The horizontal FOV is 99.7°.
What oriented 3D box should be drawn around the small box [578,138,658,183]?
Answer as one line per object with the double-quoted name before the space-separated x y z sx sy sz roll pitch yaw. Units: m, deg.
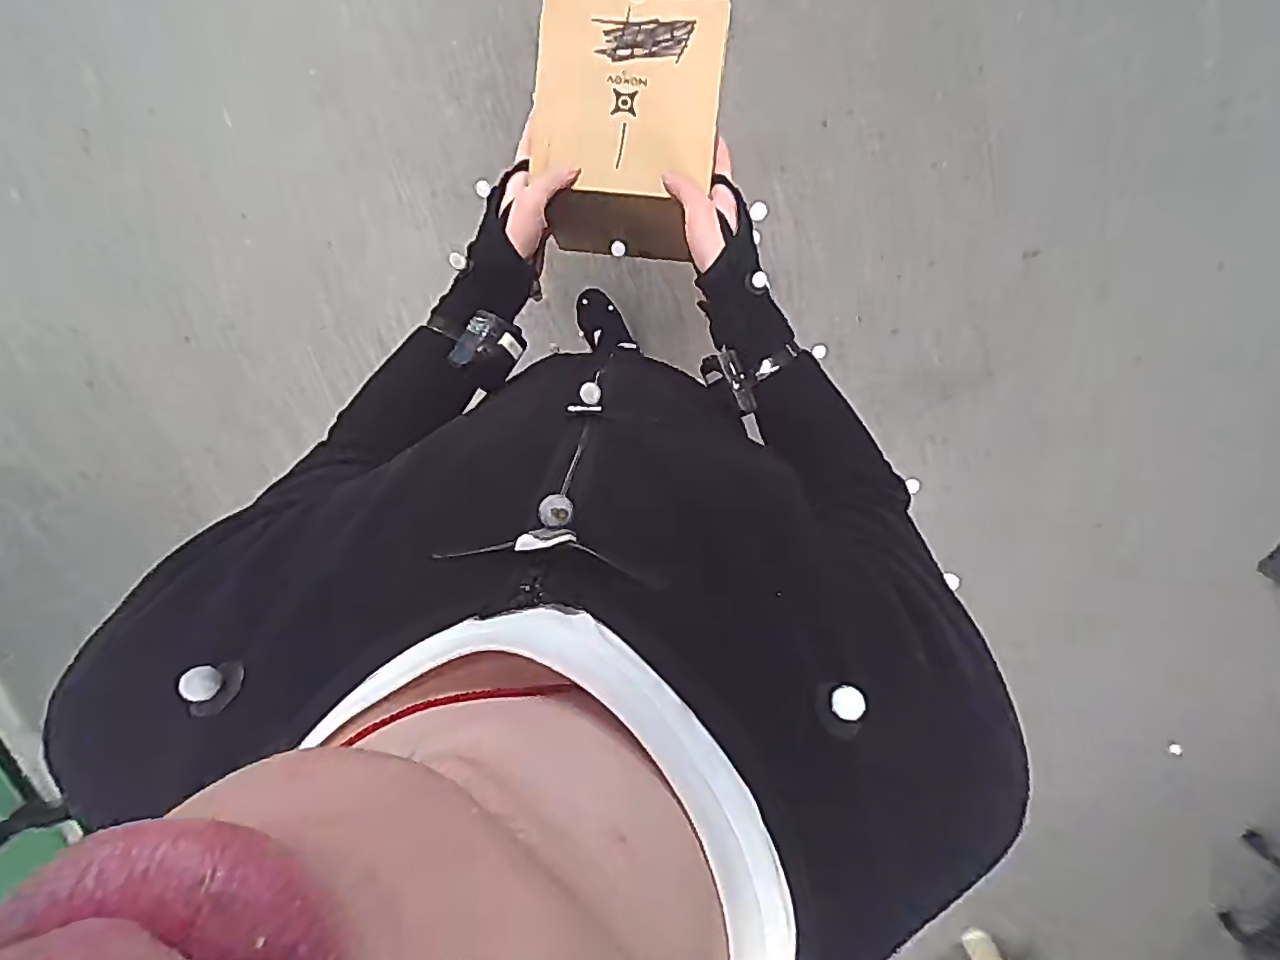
"small box" -0.063 -0.823 1.269 0.179 0.176 0.168 -13 105 3
